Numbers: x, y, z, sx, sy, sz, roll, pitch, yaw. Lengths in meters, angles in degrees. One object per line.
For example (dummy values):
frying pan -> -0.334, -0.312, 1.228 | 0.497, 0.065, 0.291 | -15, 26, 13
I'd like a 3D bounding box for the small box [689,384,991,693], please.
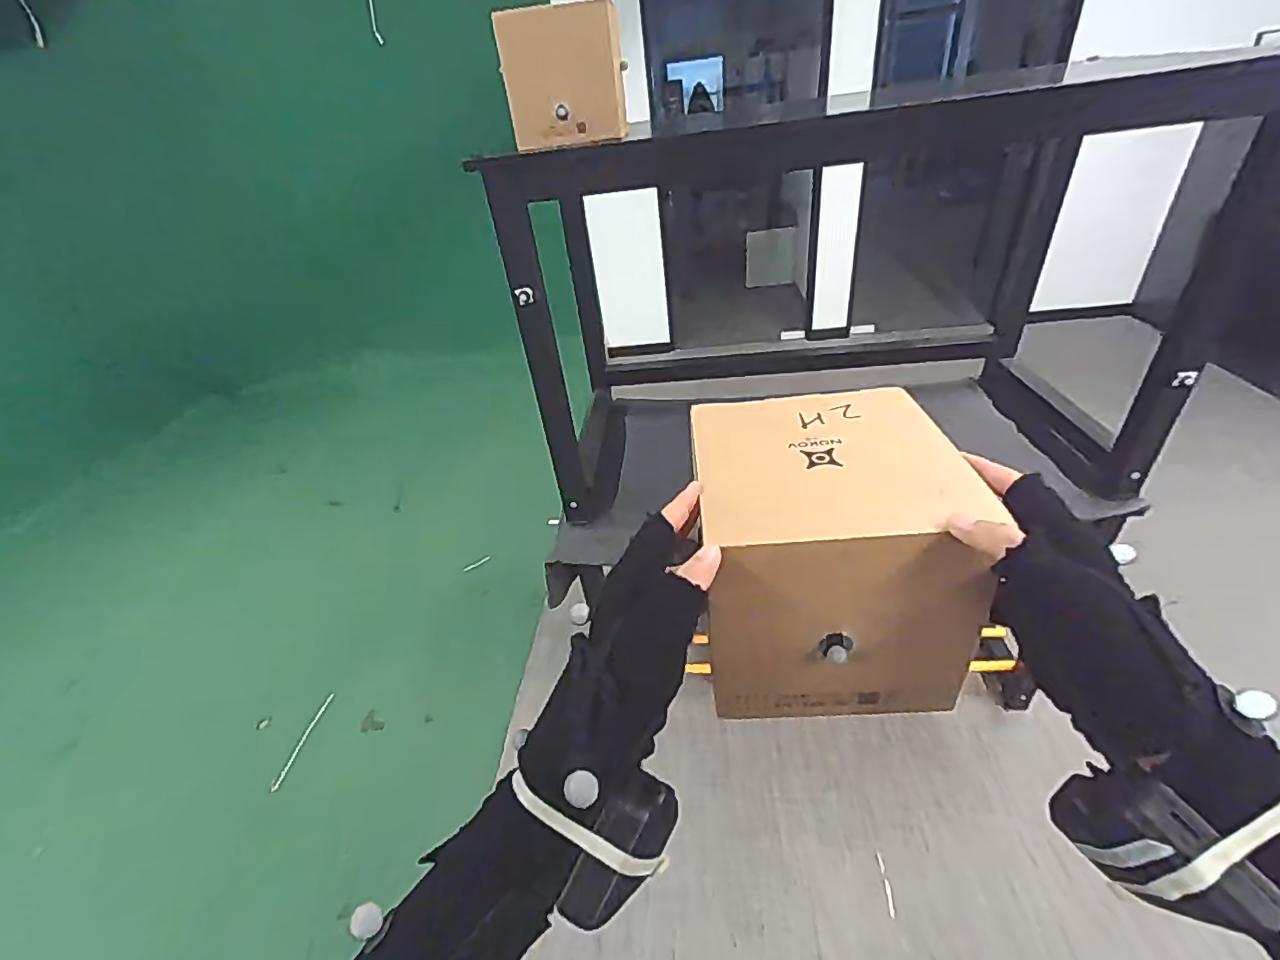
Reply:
small box -> 0.127, 0.045, 0.415 | 0.168, 0.176, 0.179 | -4, 34, 6
